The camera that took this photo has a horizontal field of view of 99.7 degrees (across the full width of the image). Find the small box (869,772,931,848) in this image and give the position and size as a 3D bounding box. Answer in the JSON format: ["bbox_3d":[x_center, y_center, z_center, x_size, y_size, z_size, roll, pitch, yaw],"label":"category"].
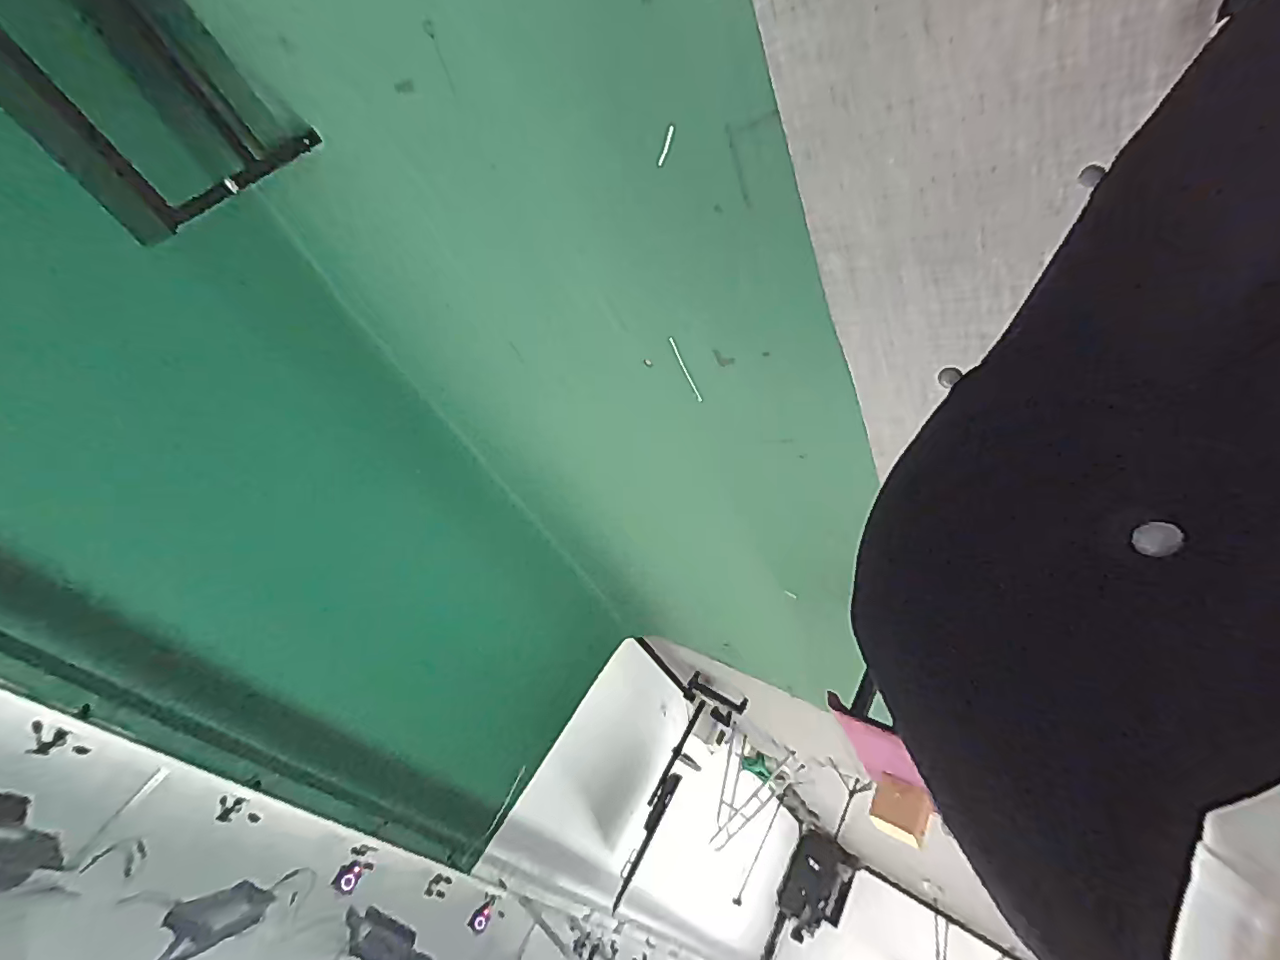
[{"bbox_3d":[1.011,1.274,2.094,0.168,0.176,0.179,6,140,41],"label":"small box"}]
